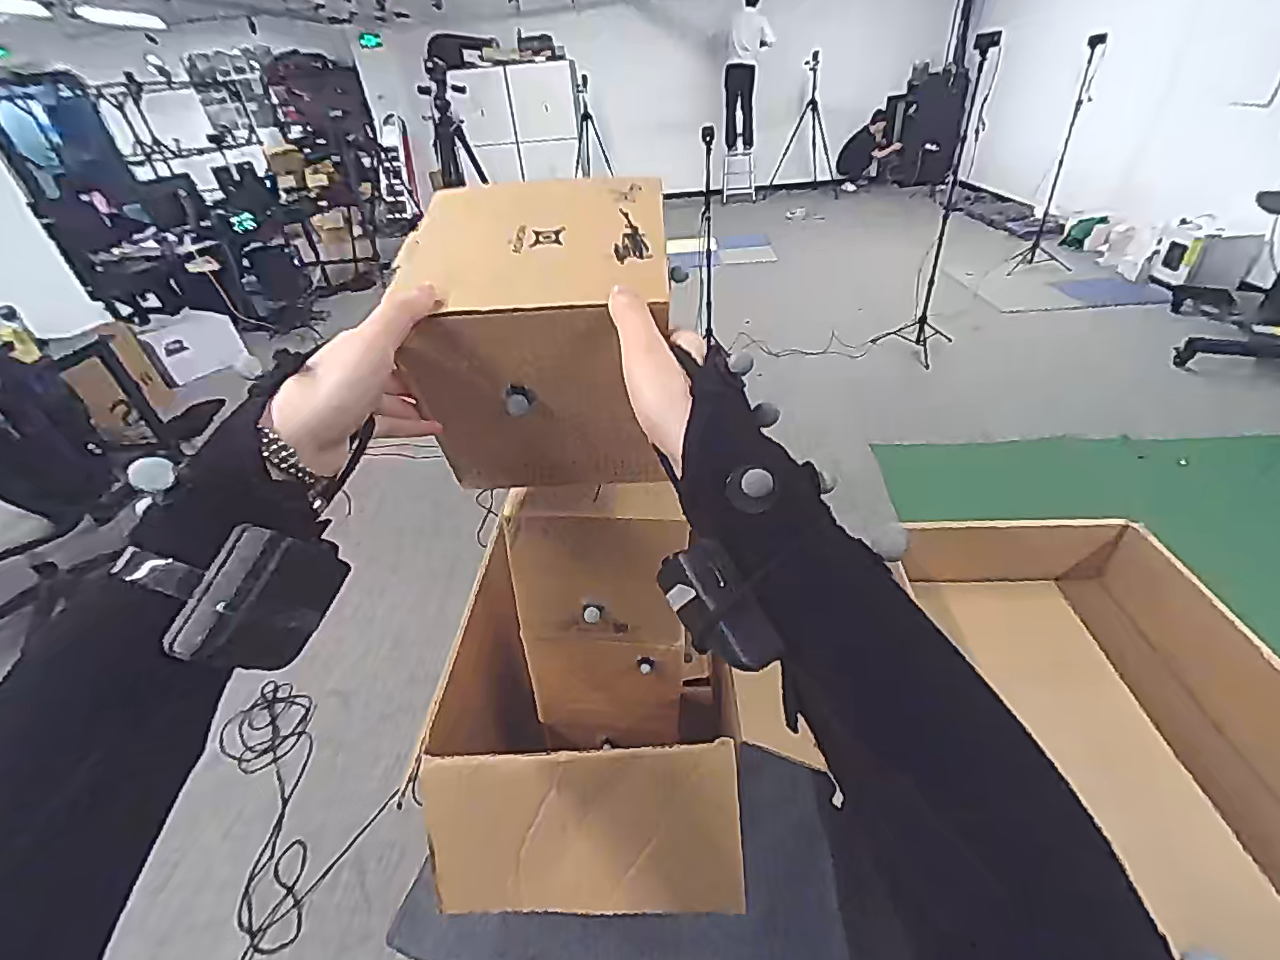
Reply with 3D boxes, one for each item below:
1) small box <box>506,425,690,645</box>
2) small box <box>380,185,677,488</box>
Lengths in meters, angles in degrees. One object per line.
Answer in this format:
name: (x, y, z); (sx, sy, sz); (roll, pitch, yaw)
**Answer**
small box: (-0.036, 0.051, 0.584); (0.168, 0.176, 0.179); (1, 36, 1)
small box: (-0.063, -0.106, 0.427); (0.179, 0.176, 0.168); (-3, 51, 3)
